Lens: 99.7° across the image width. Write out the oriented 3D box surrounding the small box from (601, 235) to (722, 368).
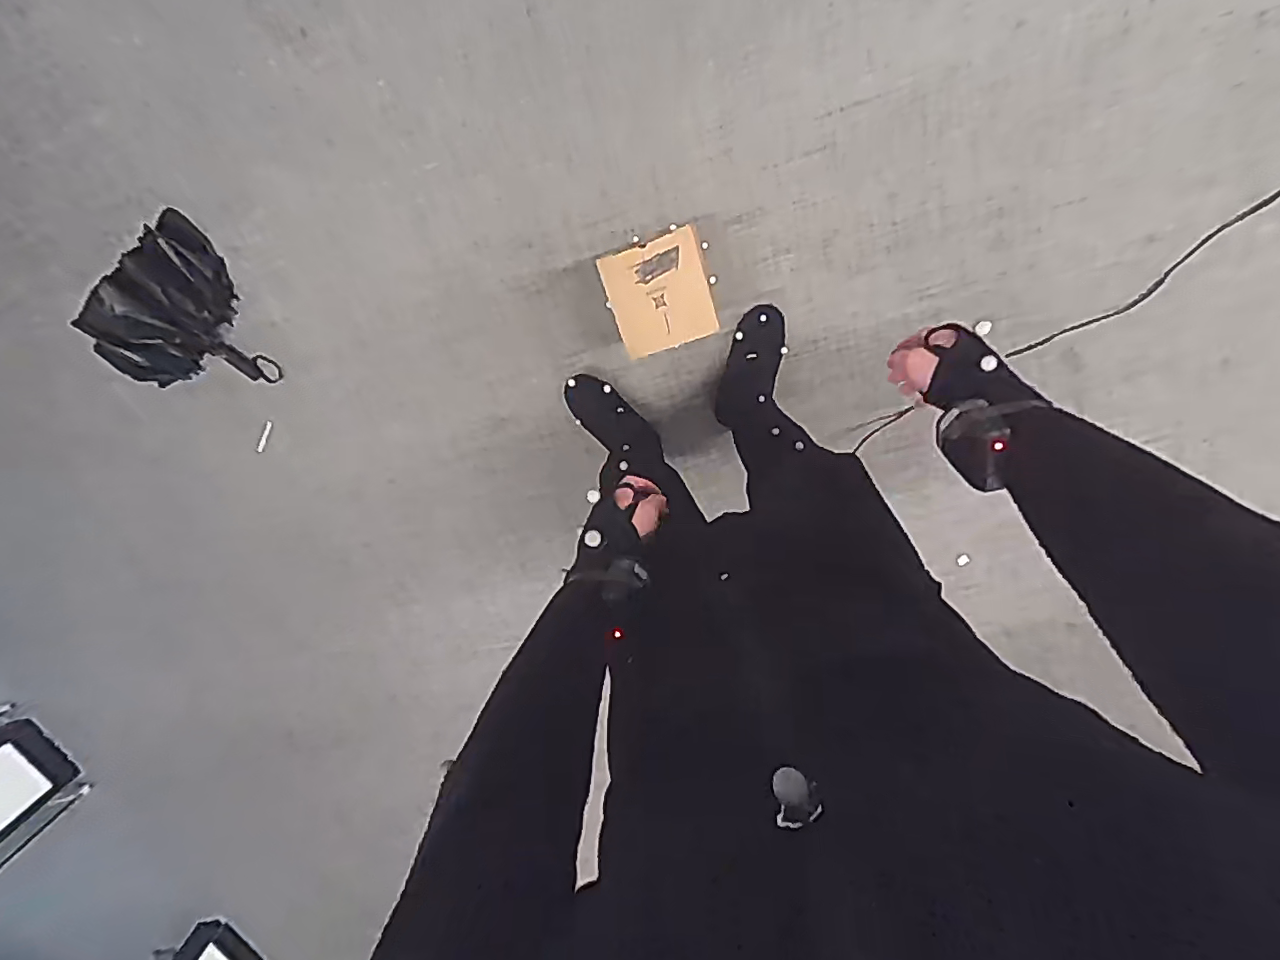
[{"bbox_3d":[0.043,-0.322,0.976,0.168,0.176,0.179,-16,111,13],"label":"small box"}]
